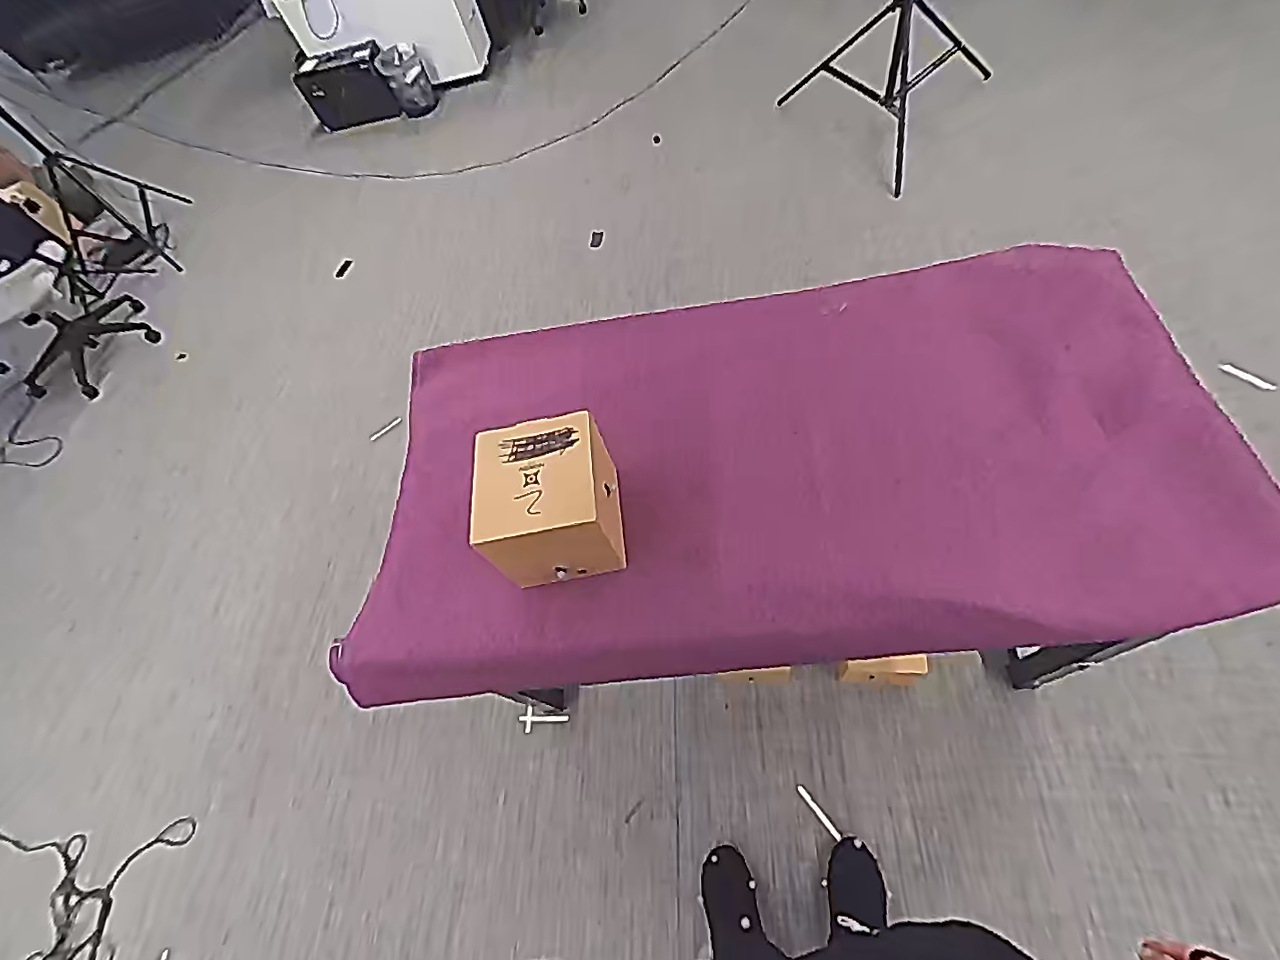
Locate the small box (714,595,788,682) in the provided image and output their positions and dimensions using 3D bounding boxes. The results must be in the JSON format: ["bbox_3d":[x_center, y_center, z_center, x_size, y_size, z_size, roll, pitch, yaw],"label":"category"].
[{"bbox_3d":[0.273,0.397,1.336,0.168,0.176,0.179,-4,59,10],"label":"small box"}]

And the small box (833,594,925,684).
[{"bbox_3d":[0.557,0.381,1.283,0.168,0.176,0.179,-2,59,12],"label":"small box"}]
